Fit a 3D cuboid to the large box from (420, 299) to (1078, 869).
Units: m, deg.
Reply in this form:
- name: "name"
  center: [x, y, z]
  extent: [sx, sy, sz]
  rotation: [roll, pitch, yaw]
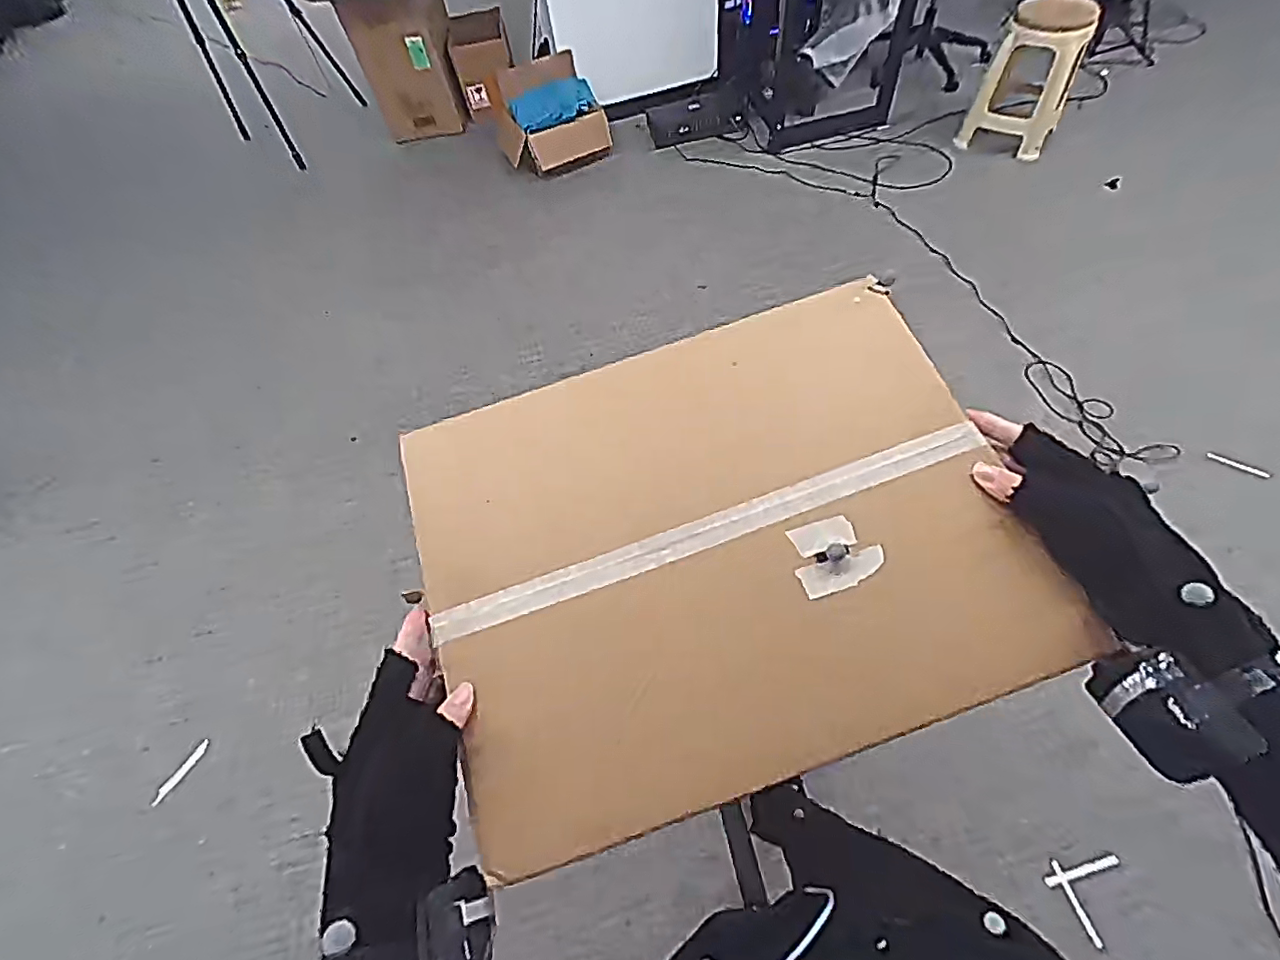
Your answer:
- name: "large box"
  center: [0.064, 0.097, 0.534]
  extent: [0.408, 0.320, 0.320]
  rotation: [-20, 68, -4]
